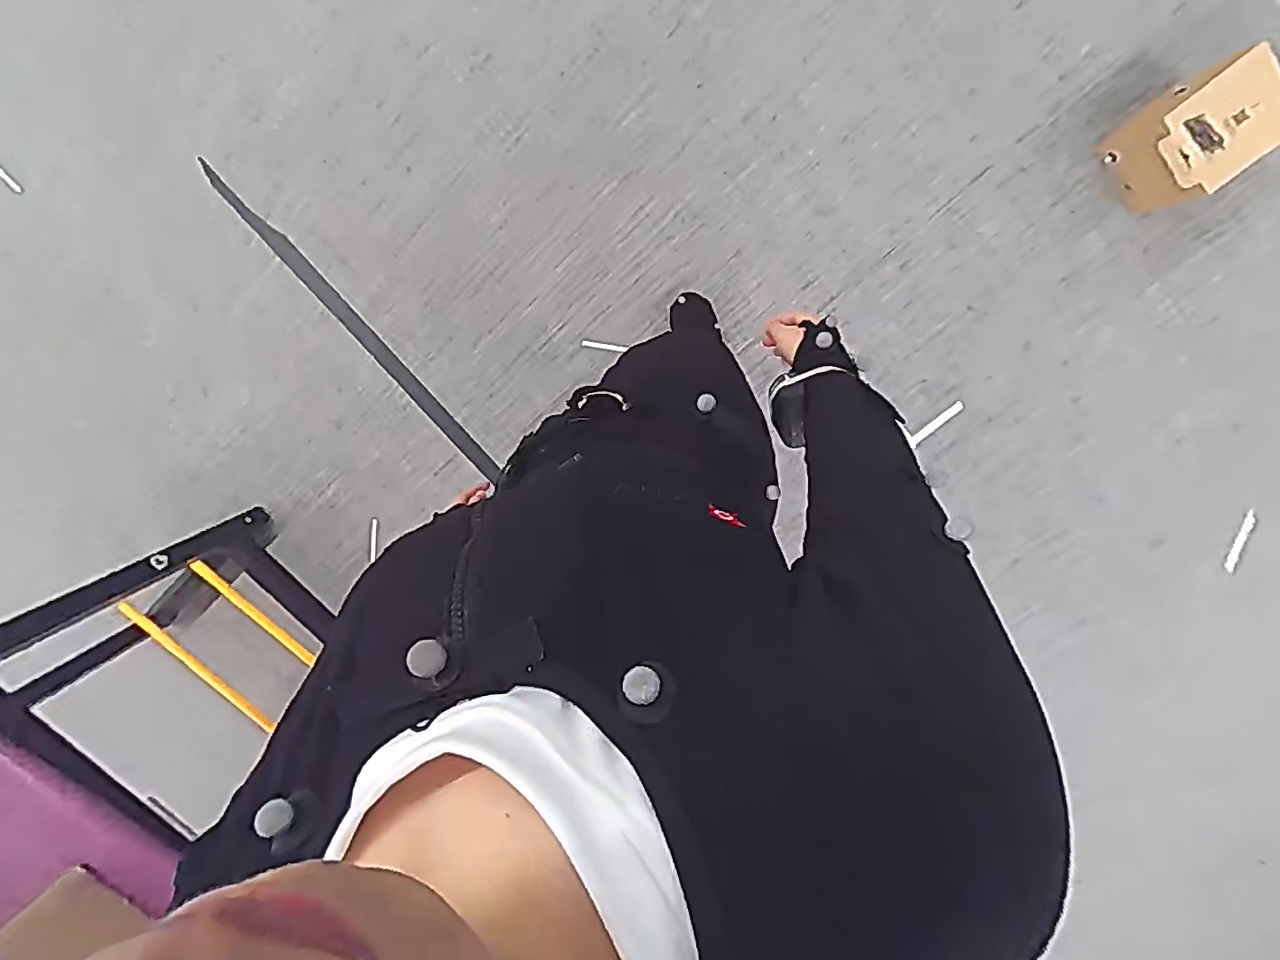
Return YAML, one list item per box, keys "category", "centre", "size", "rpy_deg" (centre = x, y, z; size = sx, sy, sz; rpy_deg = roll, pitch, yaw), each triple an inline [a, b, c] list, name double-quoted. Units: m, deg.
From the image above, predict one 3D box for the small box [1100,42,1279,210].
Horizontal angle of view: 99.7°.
- category: "small box"
  centre: [1.016, -0.637, 1.004]
  size: [0.179, 0.176, 0.168]
  rpy_deg: [-39, 100, 15]
